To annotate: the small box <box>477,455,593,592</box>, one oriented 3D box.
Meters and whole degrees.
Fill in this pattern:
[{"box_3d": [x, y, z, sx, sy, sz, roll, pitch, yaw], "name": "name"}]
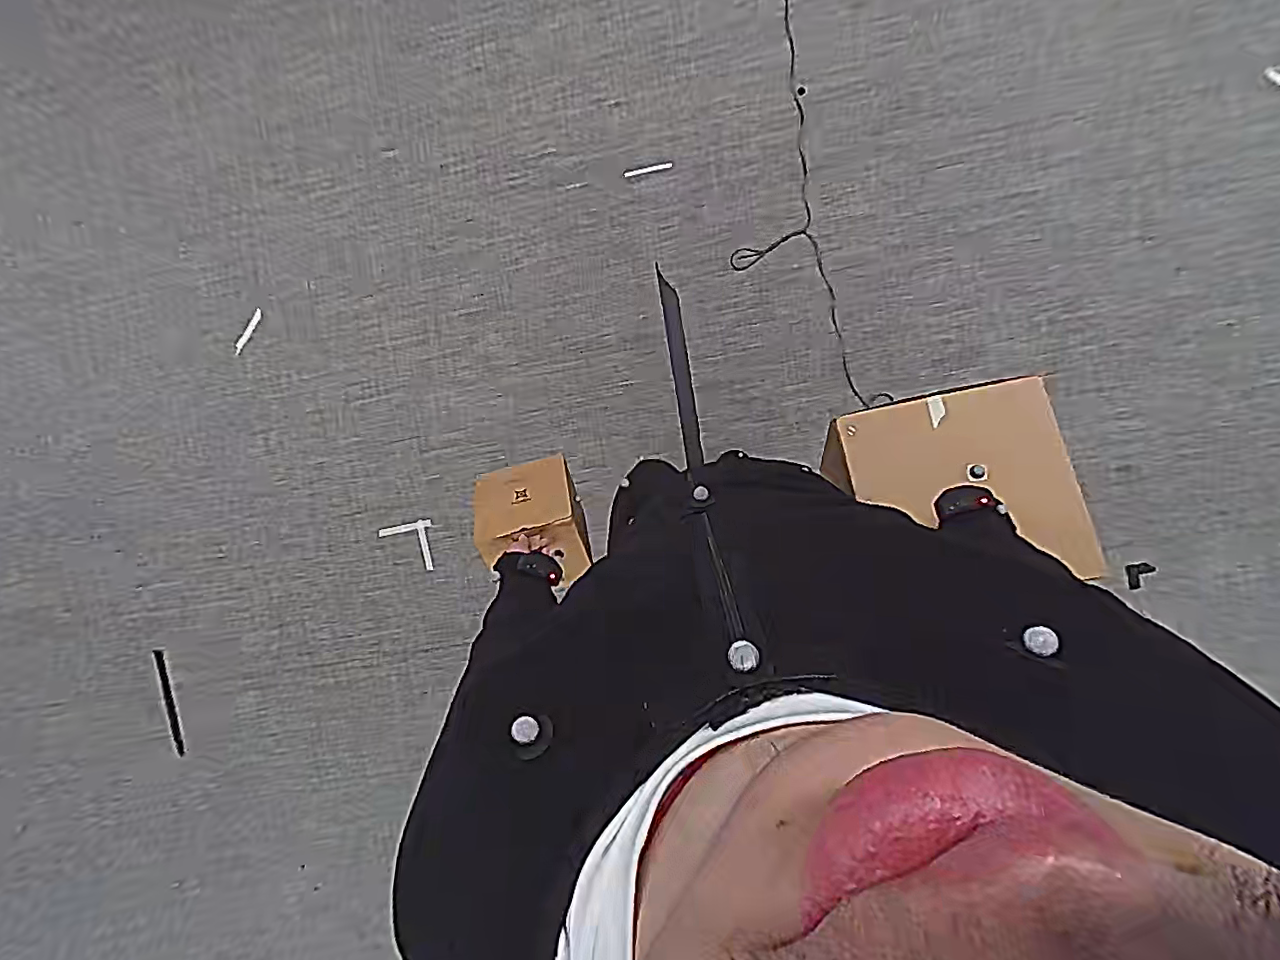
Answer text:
[{"box_3d": [-0.191, 0.087, 1.001, 0.168, 0.179, 0.176, -15, 131, -3], "name": "small box"}]
